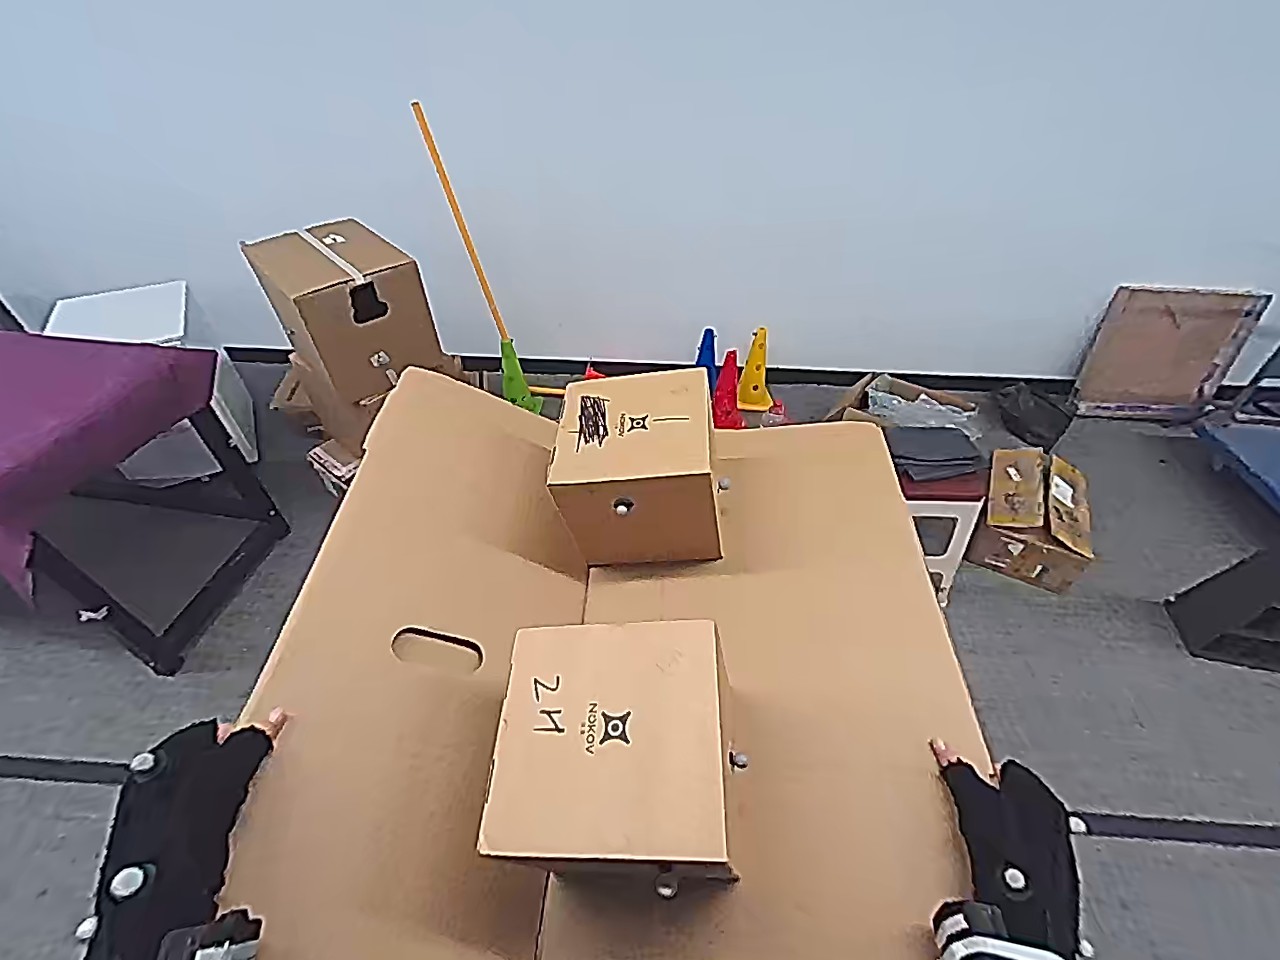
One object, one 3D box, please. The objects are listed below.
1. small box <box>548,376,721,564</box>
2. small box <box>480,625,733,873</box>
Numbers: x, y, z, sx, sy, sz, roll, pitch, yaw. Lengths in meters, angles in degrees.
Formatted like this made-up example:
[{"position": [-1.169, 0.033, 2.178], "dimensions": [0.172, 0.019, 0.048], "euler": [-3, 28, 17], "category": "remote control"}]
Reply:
[{"position": [0.005, -0.006, 0.678], "dimensions": [0.179, 0.176, 0.168], "euler": [-4, 50, 10], "category": "small box"}, {"position": [-0.010, 0.240, 0.480], "dimensions": [0.179, 0.176, 0.168], "euler": [-5, 50, 11], "category": "small box"}]
